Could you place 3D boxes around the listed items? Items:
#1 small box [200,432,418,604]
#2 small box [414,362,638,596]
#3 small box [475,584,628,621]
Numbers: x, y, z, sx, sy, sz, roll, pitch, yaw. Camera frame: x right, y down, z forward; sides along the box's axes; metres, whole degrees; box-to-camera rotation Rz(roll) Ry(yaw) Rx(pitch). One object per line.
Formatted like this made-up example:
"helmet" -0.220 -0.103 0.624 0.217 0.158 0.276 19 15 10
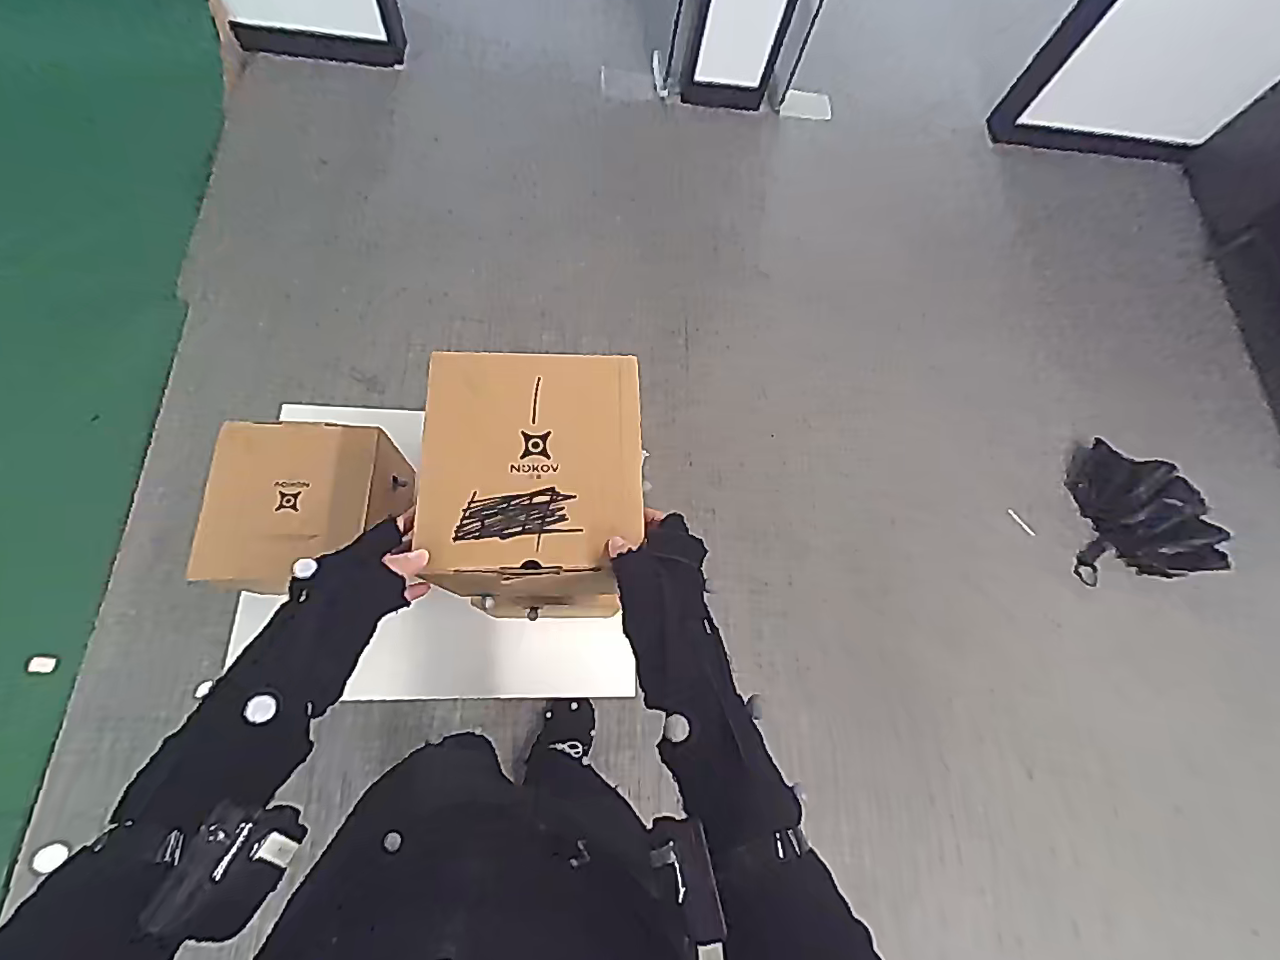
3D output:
"small box" -0.380 0.054 0.660 0.168 0.176 0.179 0 73 -7
"small box" -0.089 0.011 0.490 0.168 0.176 0.179 -1 72 -5
"small box" -0.104 0.081 0.683 0.168 0.176 0.179 1 71 -6
